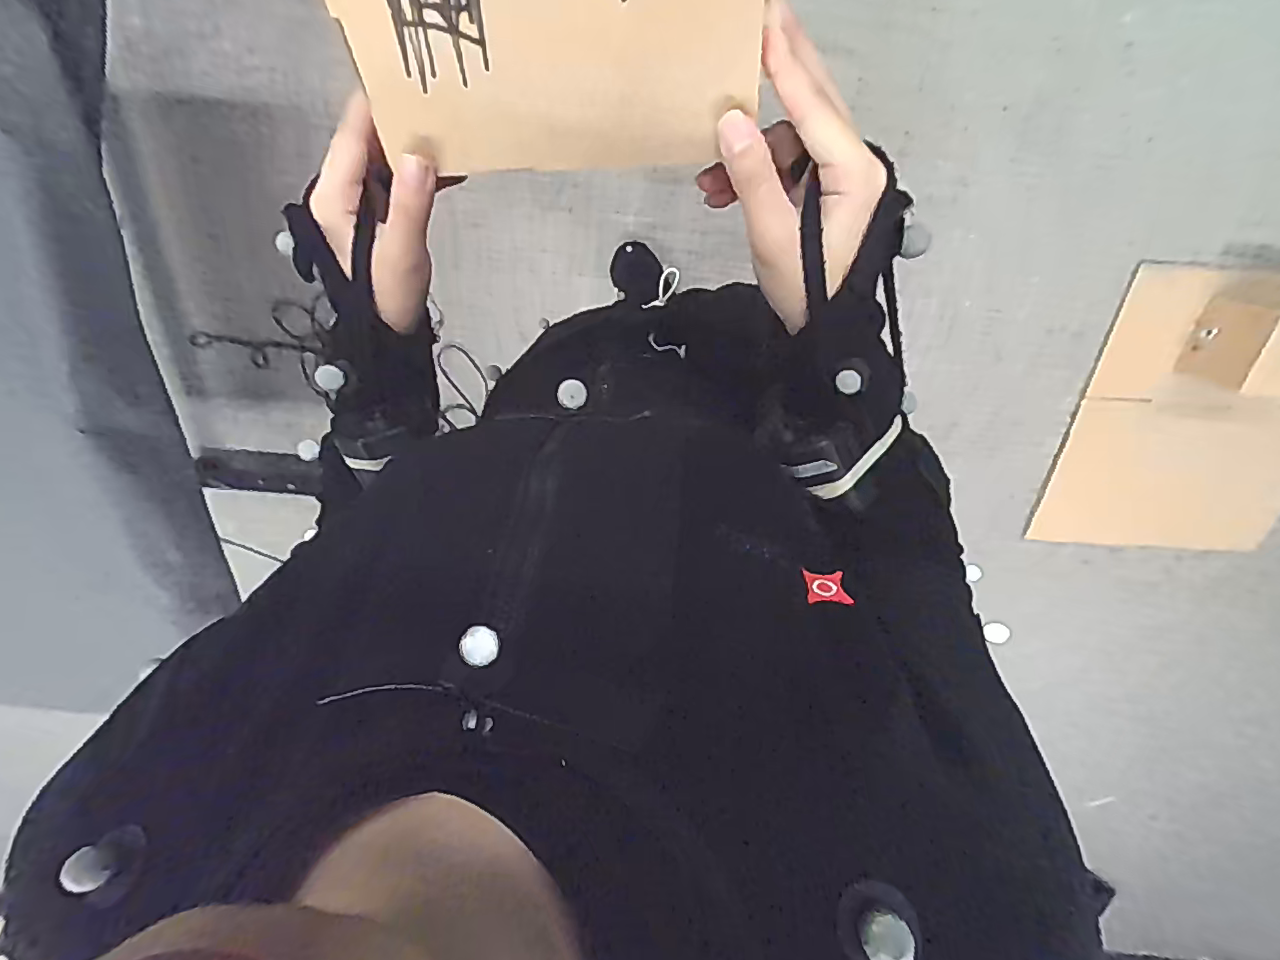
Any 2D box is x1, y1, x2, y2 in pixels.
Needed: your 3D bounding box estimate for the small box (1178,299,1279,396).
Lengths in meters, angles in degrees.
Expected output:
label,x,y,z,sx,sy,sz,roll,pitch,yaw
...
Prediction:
label,x,y,z,sx,sy,sz,roll,pitch,yaw
small box,1.299,-0.276,1.117,0.179,0.176,0.168,4,116,2
